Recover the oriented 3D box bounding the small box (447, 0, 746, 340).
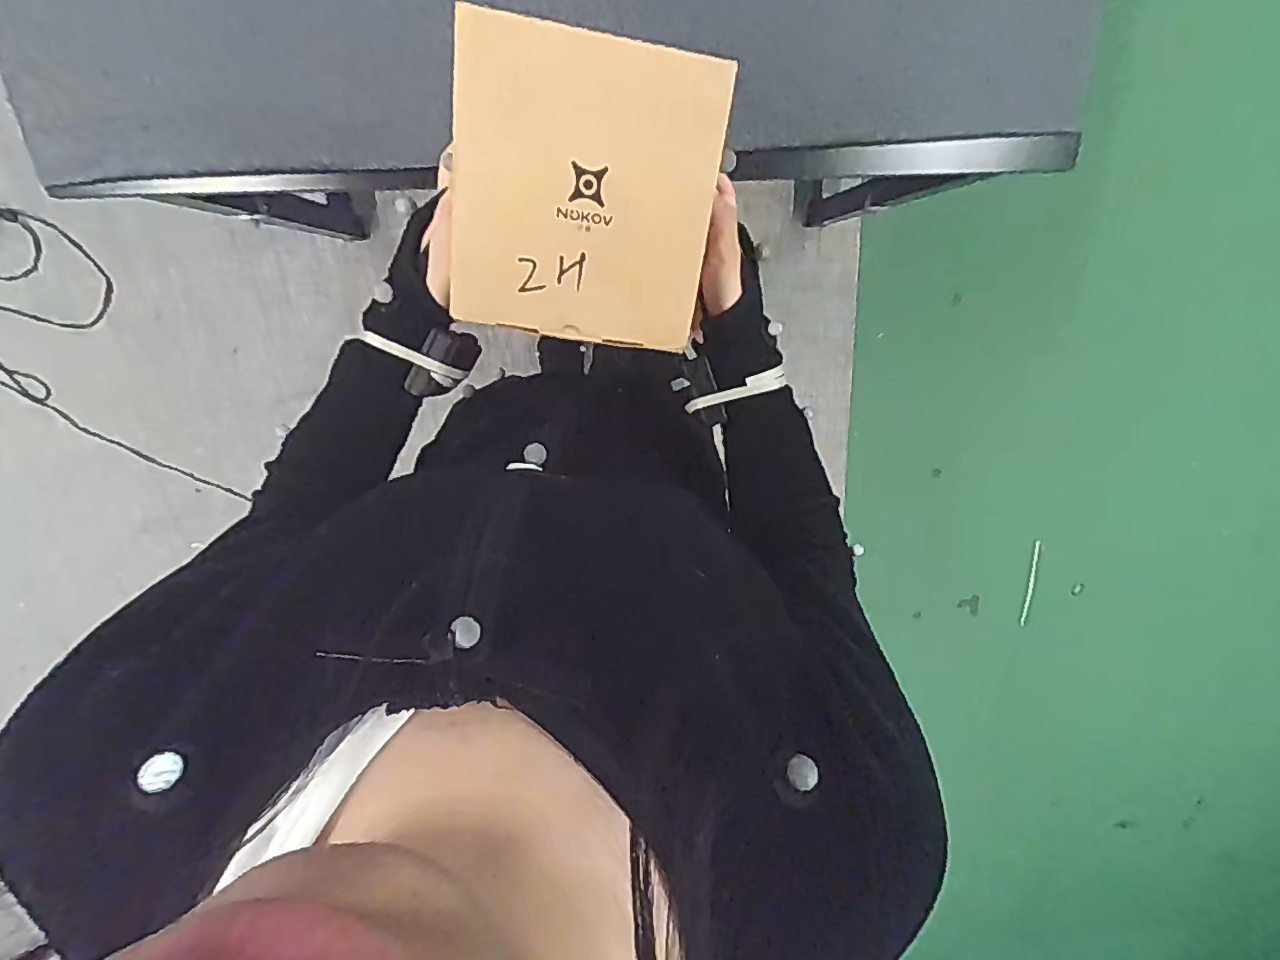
[{"bbox_3d":[-0.038,-0.215,0.403,0.168,0.176,0.179,7,112,-8],"label":"small box"}]
